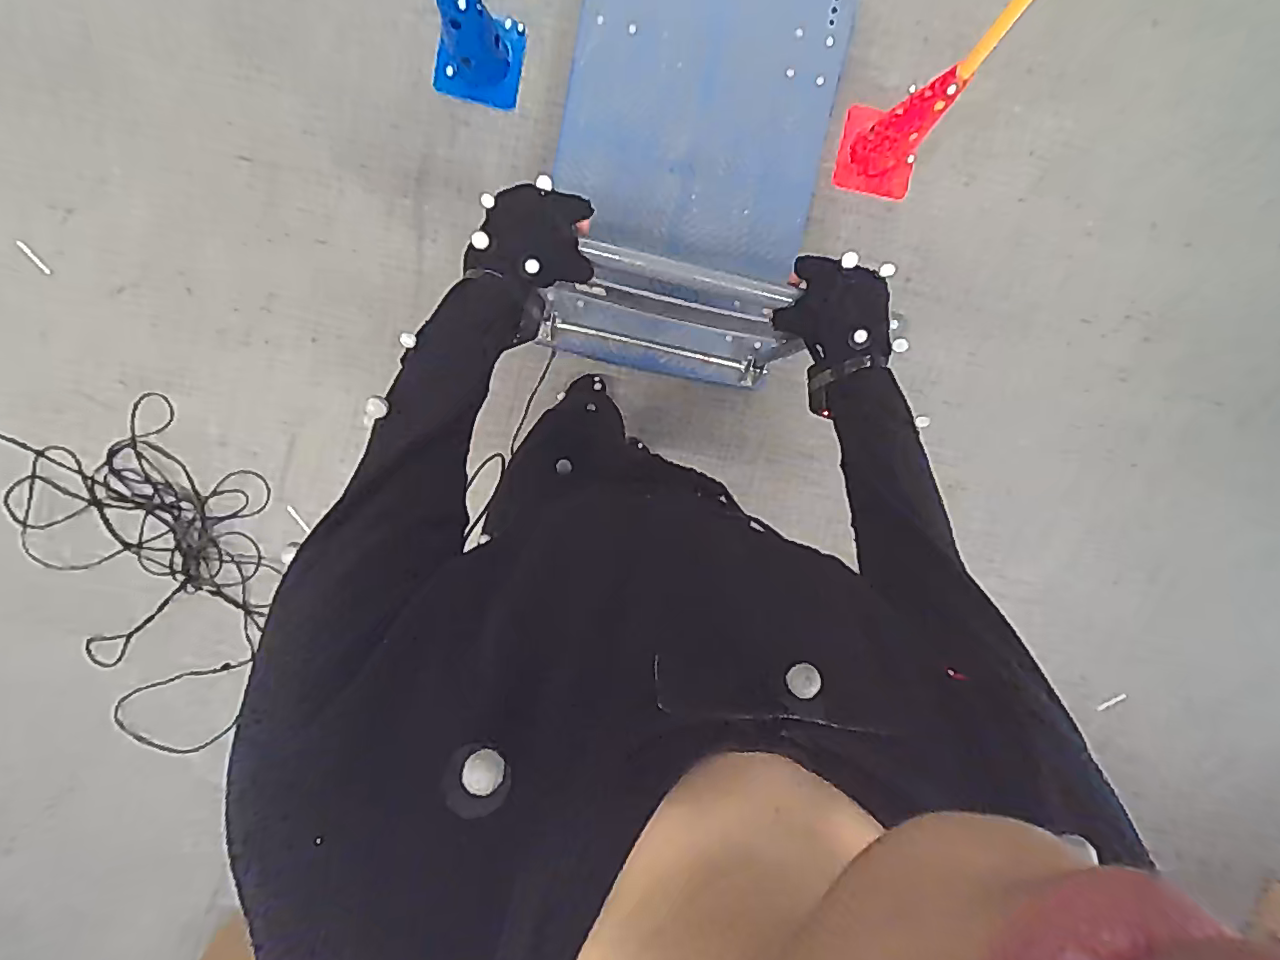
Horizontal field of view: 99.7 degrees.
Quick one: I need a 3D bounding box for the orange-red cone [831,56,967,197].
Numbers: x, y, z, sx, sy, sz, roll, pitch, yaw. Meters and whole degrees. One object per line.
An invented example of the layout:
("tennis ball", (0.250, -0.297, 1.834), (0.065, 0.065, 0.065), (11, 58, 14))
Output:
("orange-red cone", (0.608, -0.822, 1.219), (0.199, 0.360, 0.198), (11, 97, -3))
